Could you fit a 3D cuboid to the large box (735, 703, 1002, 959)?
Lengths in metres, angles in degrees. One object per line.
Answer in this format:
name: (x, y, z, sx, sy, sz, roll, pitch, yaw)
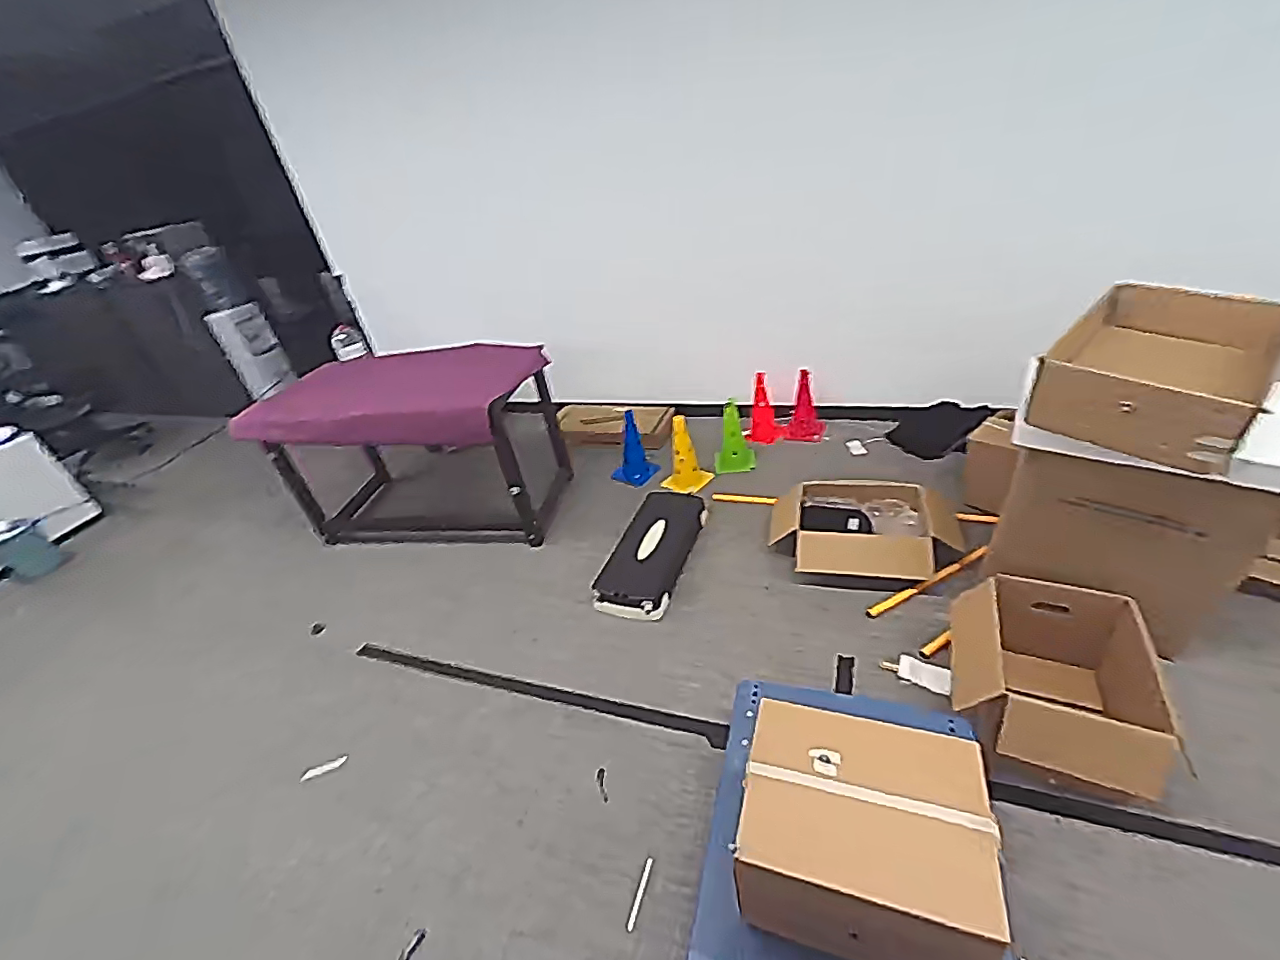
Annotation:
large box: (0.421, 0.692, 1.058, 0.408, 0.320, 0.320, 3, 35, 21)
